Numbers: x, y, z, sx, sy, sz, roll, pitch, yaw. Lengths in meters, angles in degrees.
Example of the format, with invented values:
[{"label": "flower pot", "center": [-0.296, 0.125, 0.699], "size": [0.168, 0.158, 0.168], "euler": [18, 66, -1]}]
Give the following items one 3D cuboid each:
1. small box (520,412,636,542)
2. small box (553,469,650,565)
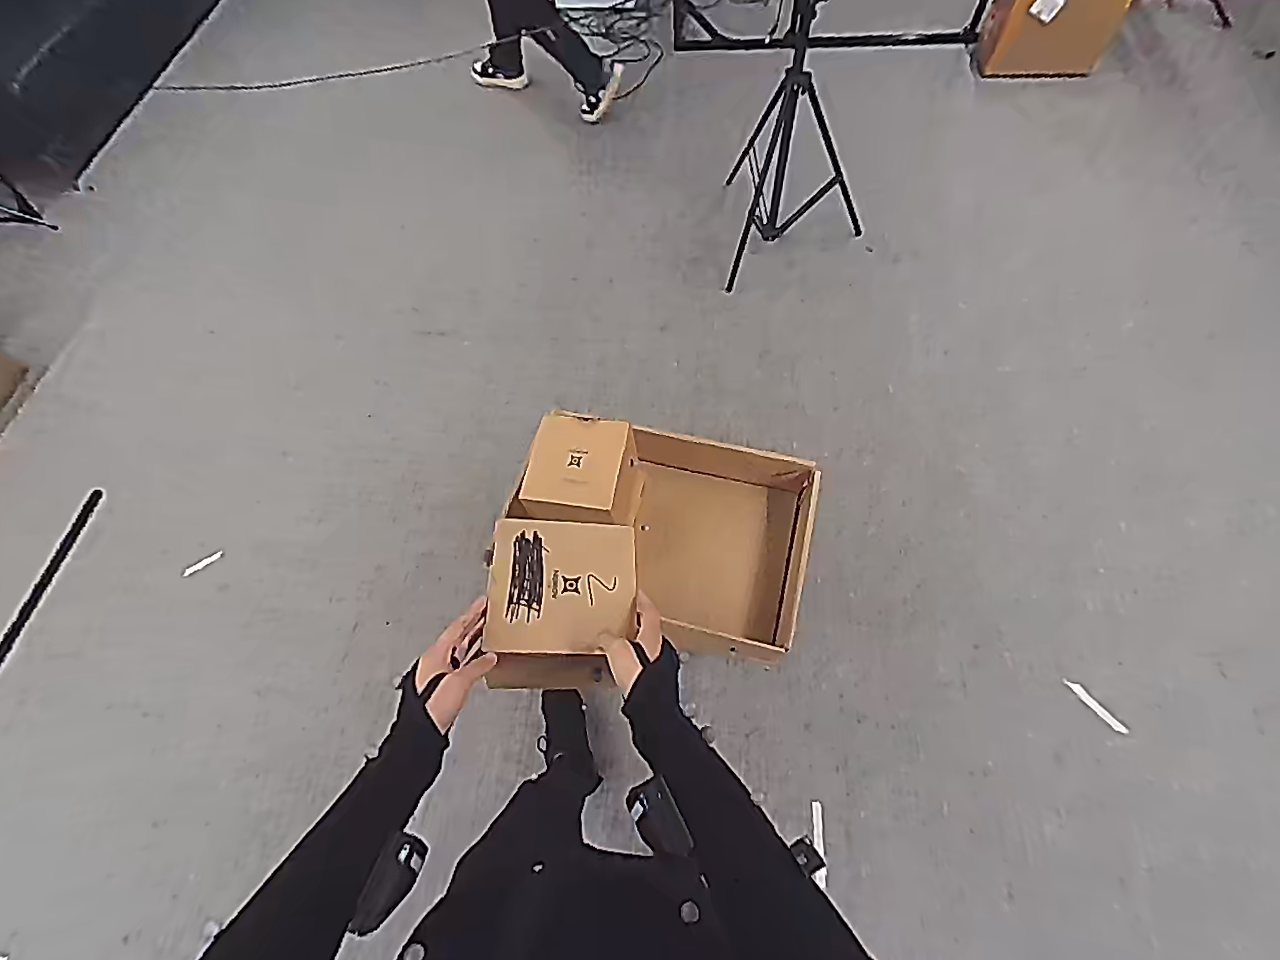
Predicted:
[{"label": "small box", "center": [-0.104, -0.002, 1.015], "size": [0.168, 0.176, 0.179], "euler": [7, 64, 9]}, {"label": "small box", "center": [-0.083, 0.072, 1.160], "size": [0.179, 0.176, 0.168], "euler": [10, 66, 9]}]
